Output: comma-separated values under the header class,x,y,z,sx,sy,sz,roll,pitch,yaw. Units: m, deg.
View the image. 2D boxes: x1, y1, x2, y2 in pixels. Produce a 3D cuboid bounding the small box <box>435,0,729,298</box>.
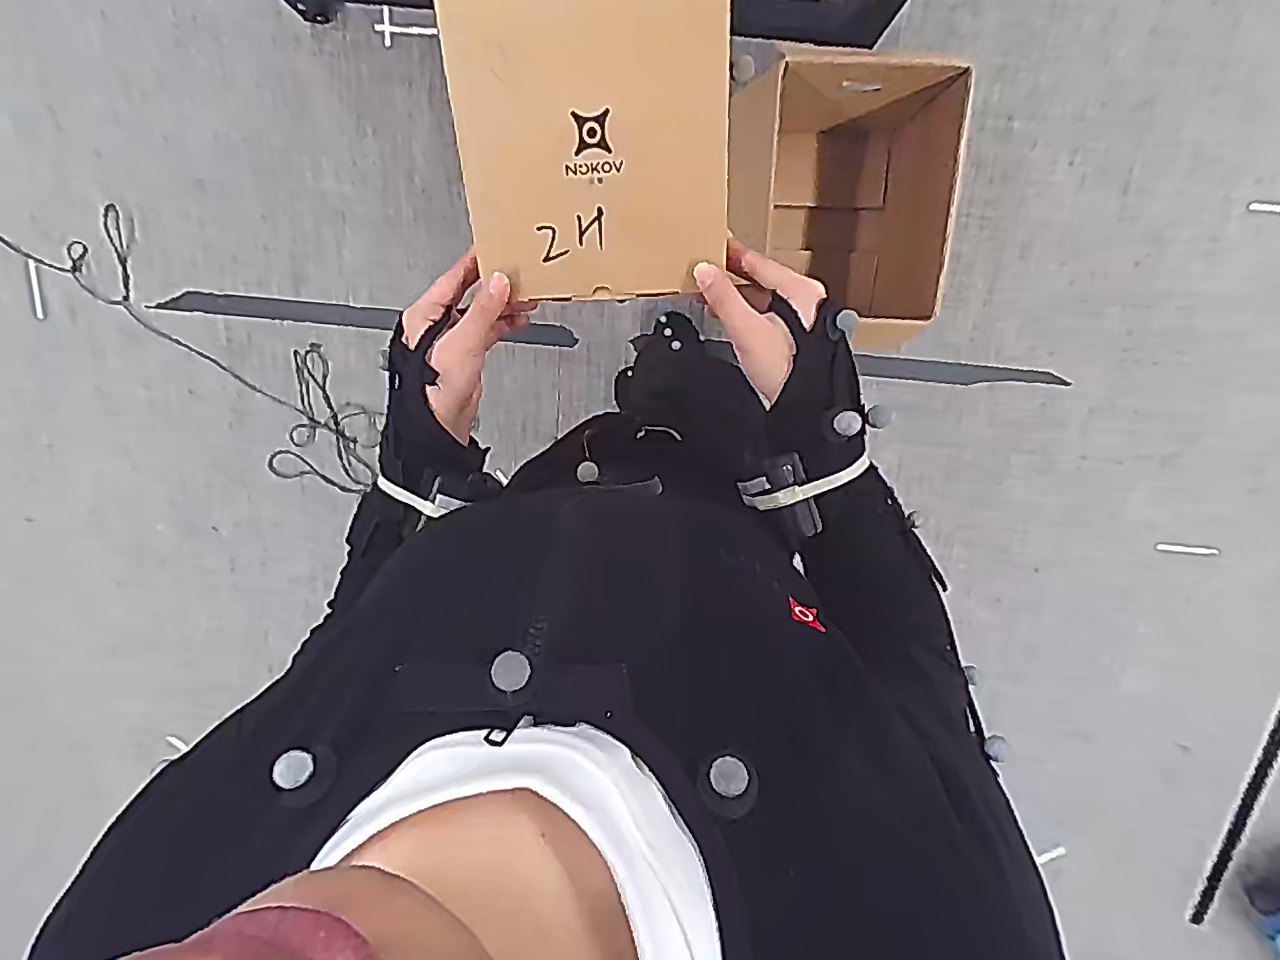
class,x,y,z,sx,sy,sz,roll,pitch,yaw
small box,-0.024,-0.234,0.396,0.168,0.176,0.179,-1,115,6
